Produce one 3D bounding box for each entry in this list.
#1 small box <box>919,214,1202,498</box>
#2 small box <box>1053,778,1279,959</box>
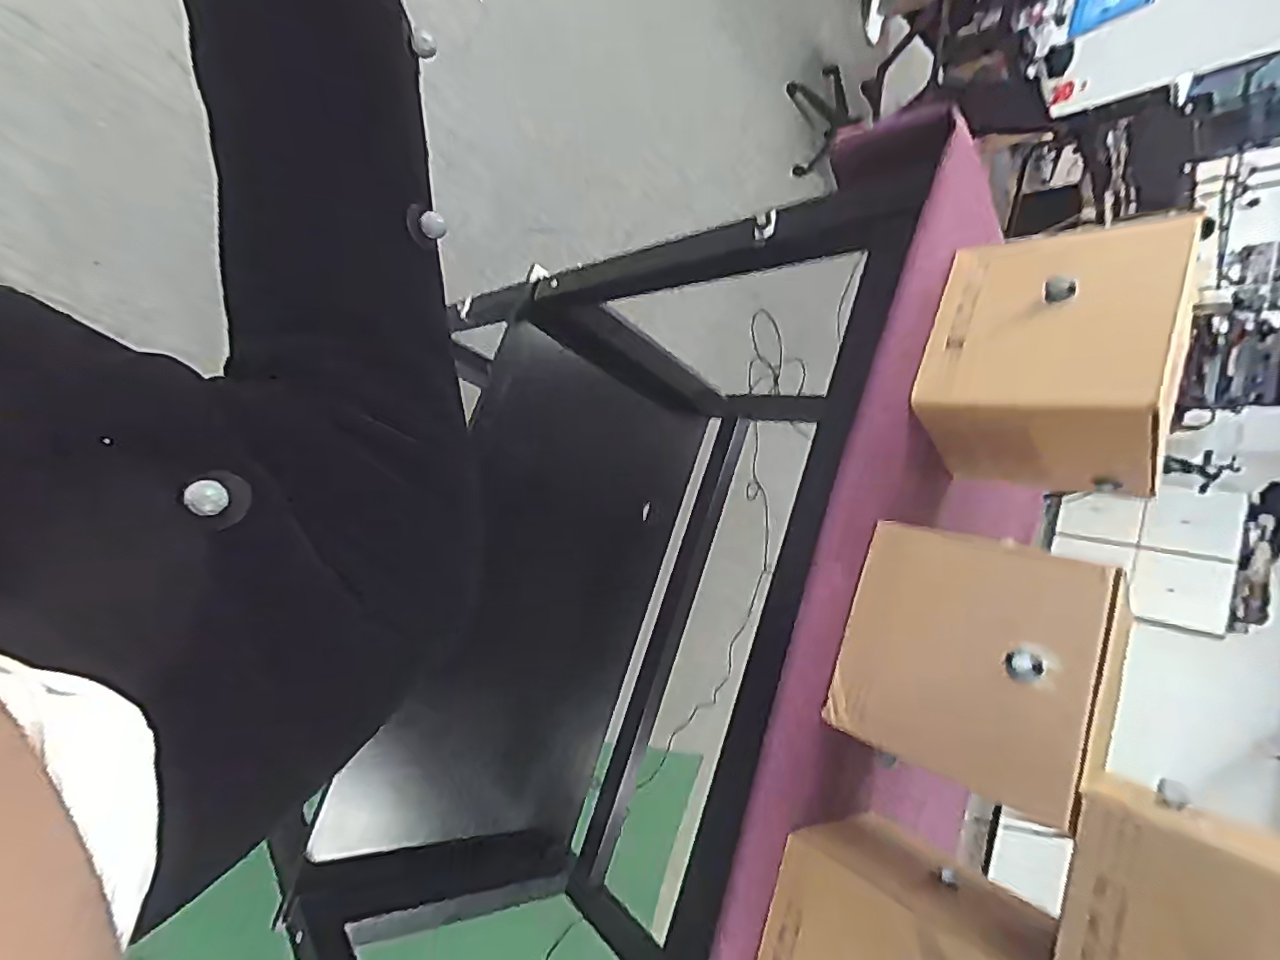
[{"bbox_3d":[0.377,-0.098,0.493,0.179,0.176,0.168,32,75,-42],"label":"small box"},{"bbox_3d":[0.356,0.298,0.312,0.179,0.176,0.168,23,80,-42],"label":"small box"}]
